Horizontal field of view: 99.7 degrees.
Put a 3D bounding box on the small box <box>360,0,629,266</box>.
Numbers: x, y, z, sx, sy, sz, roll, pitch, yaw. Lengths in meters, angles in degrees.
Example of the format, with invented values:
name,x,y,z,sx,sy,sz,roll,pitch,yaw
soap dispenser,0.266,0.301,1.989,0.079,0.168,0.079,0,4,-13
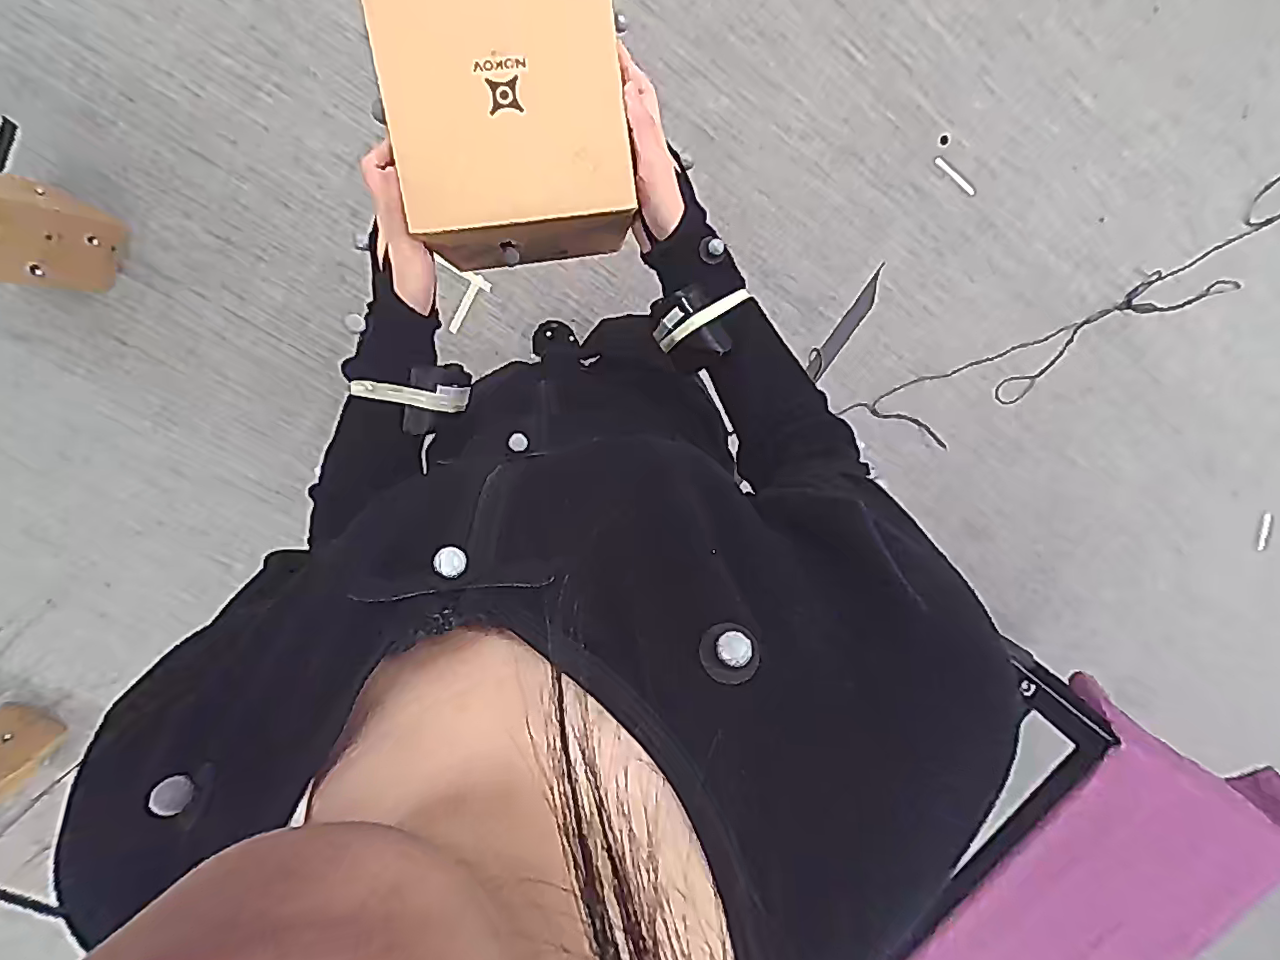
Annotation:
name,x,y,z,sx,sy,sz,roll,pitch,yaw
small box,-0.104,-0.286,0.449,0.168,0.176,0.179,-9,102,-4

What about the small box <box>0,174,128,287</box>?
name,x,y,z,sx,sy,sz,roll,pitch,yaw
small box,-1.282,-0.535,1.172,0.179,0.176,0.168,27,101,-11

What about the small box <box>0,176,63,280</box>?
name,x,y,z,sx,sy,sz,roll,pitch,yaw
small box,-1.264,-0.494,1.014,0.179,0.176,0.168,28,101,-12

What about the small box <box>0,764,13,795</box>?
name,x,y,z,sx,sy,sz,roll,pitch,yaw
small box,-1.755,0.800,1.340,0.179,0.176,0.168,35,101,-15
